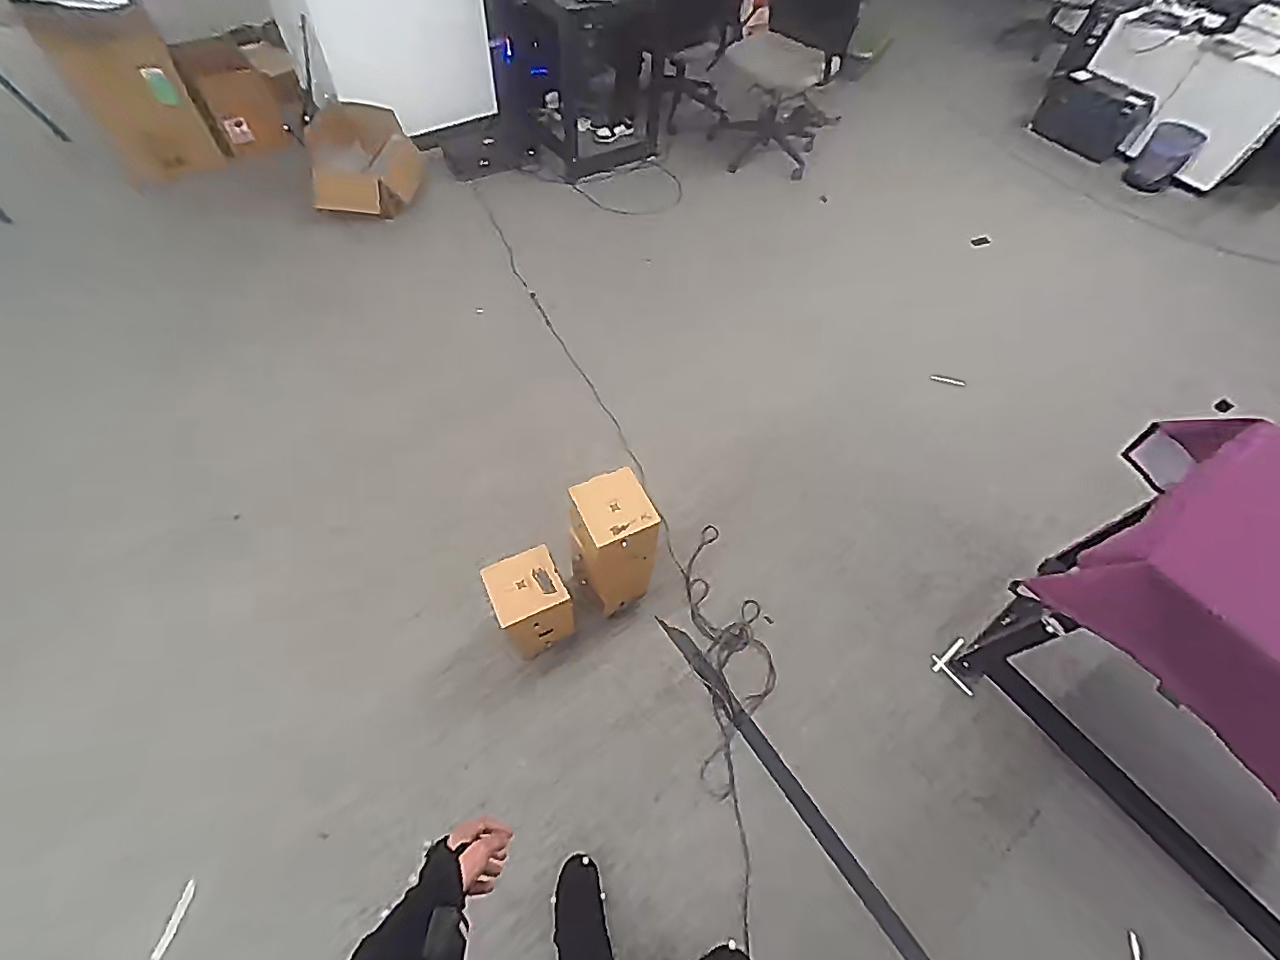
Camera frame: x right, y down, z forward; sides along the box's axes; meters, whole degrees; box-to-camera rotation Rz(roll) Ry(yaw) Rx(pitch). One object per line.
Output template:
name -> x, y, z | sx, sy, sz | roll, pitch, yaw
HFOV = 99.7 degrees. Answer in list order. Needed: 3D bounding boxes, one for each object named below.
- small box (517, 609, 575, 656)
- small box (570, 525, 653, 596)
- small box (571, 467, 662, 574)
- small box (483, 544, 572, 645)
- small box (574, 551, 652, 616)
small box -> -0.296, 0.370, 1.532 | 0.168, 0.176, 0.179 | -25, 63, -18
small box -> -0.072, 0.189, 1.476 | 0.179, 0.176, 0.168 | -28, 63, -20
small box -> -0.062, 0.103, 1.336 | 0.168, 0.176, 0.179 | -21, 60, -17
small box -> -0.282, 0.296, 1.385 | 0.179, 0.176, 0.168 | -22, 61, -16
small box -> -0.083, 0.276, 1.612 | 0.168, 0.176, 0.179 | -29, 64, -20
